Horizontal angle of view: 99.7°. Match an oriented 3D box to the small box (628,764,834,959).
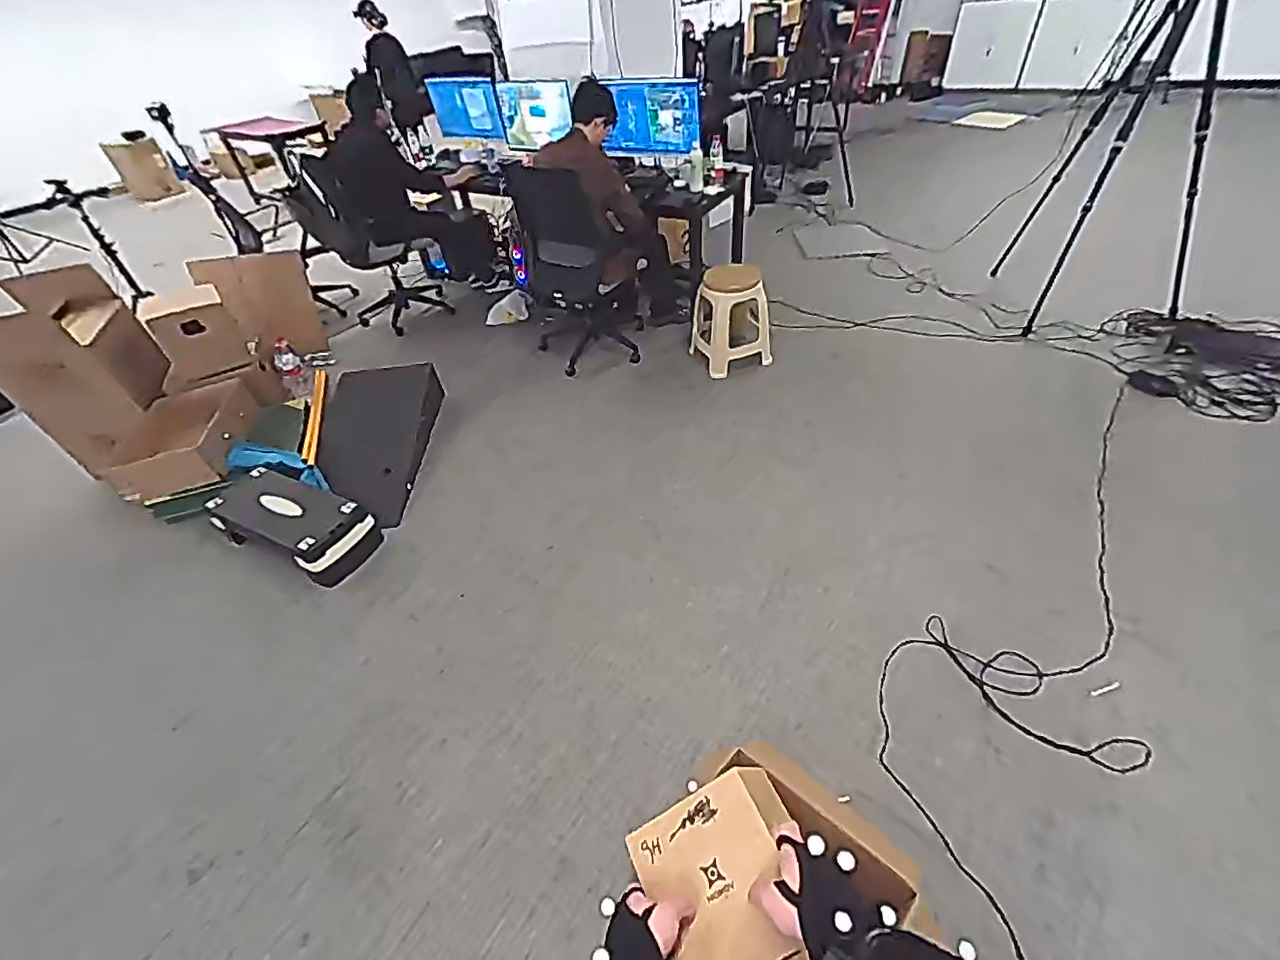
[{"bbox_3d":[0.120,0.485,0.686,0.168,0.176,0.179,-39,54,6],"label":"small box"}]
